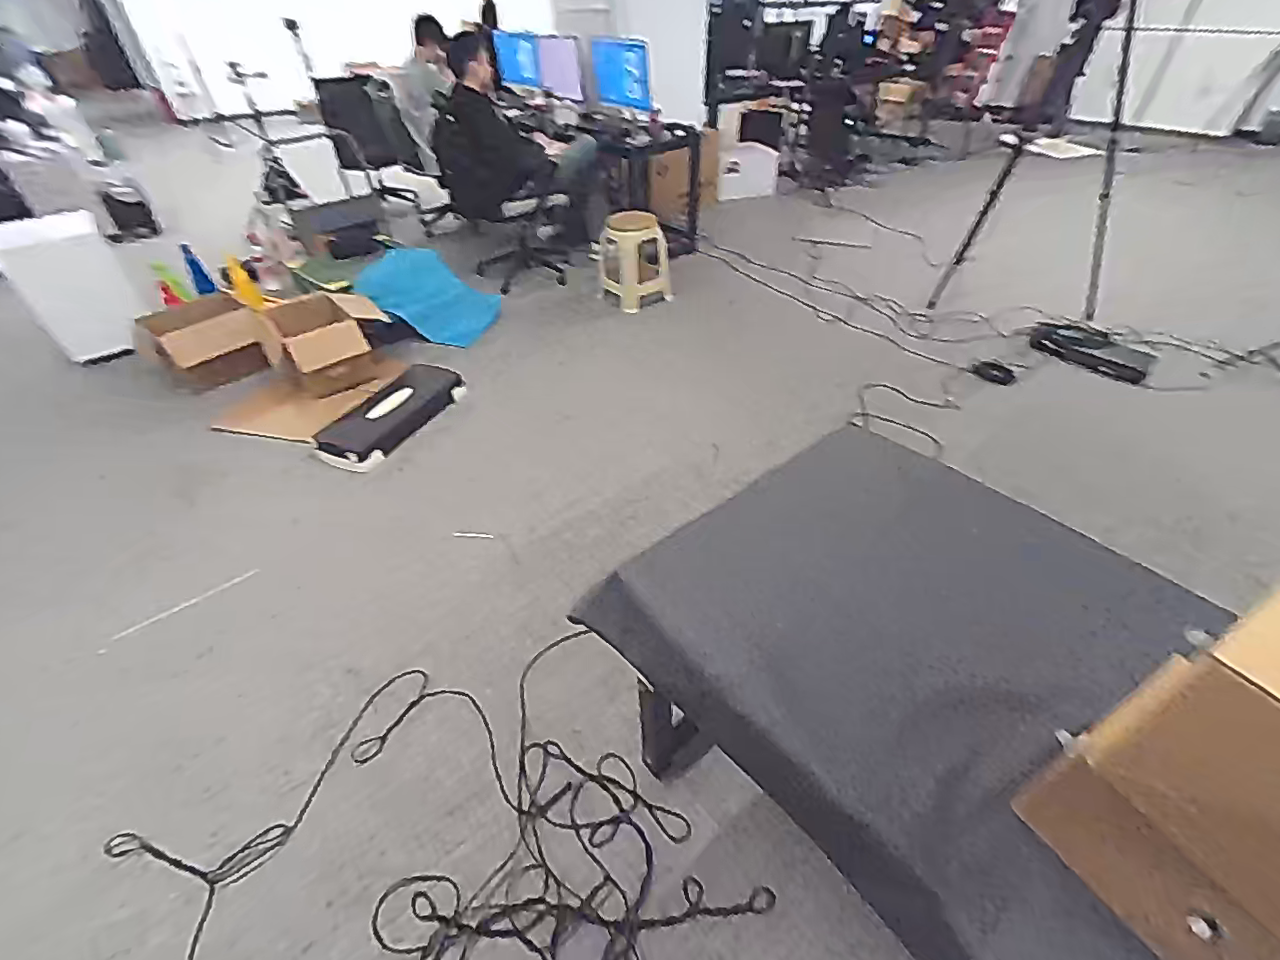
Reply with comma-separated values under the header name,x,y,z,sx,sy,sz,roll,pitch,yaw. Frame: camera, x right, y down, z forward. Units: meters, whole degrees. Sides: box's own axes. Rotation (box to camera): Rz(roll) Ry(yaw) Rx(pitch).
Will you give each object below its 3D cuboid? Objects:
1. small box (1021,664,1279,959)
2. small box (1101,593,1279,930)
name,x,y,z,sx,sy,sz,roll,pitch,yaw
small box,0.512,0.315,0.499,0.168,0.176,0.179,-21,44,-22
small box,0.493,0.202,0.382,0.168,0.176,0.179,-20,45,-21
